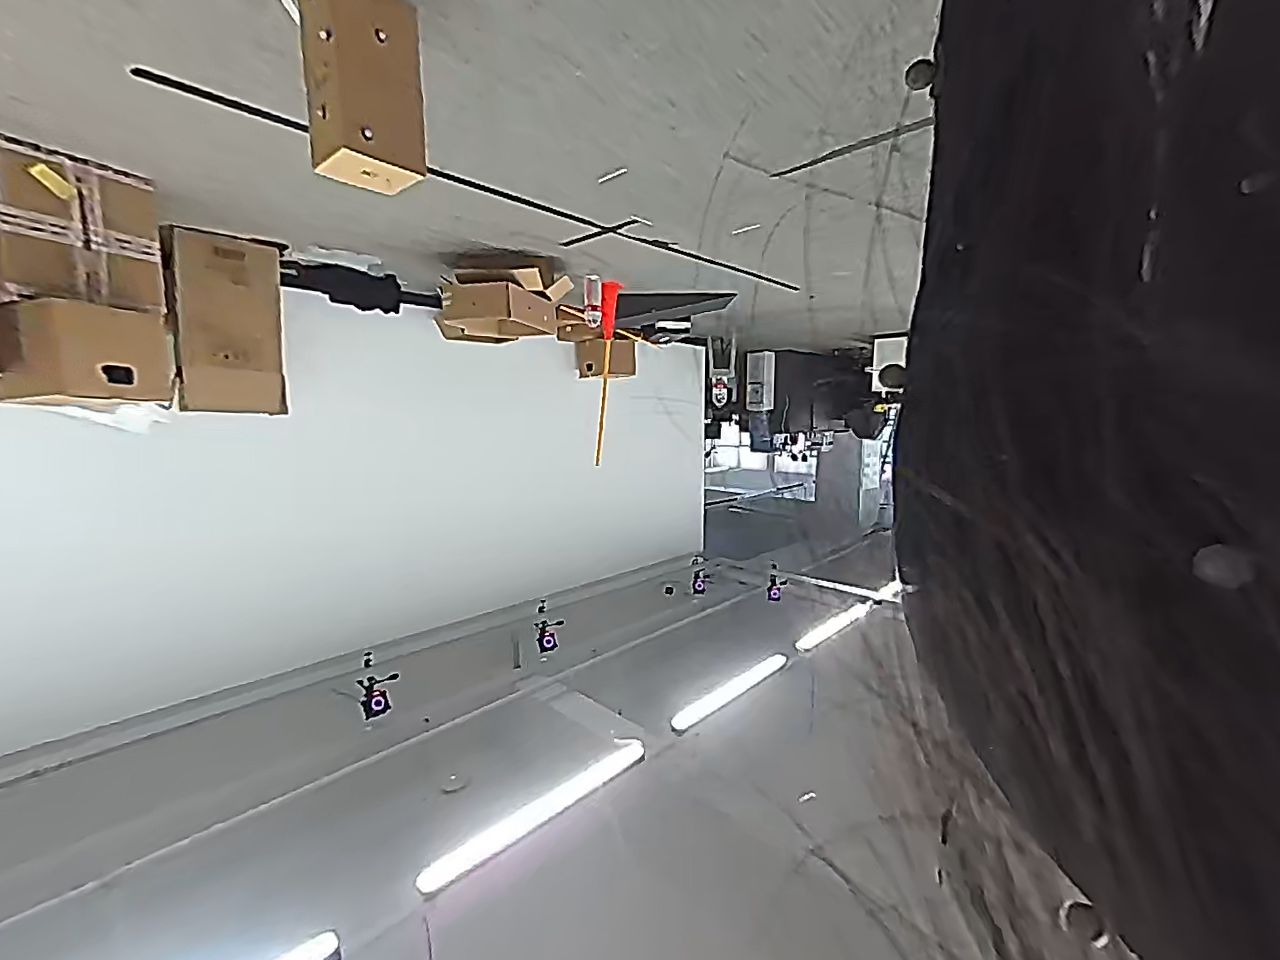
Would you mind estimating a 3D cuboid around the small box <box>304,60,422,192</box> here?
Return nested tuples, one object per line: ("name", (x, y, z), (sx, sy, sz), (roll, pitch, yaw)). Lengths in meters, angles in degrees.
("small box", (-0.590, -0.747, 1.149), (0.168, 0.176, 0.179), (6, -169, 40))
